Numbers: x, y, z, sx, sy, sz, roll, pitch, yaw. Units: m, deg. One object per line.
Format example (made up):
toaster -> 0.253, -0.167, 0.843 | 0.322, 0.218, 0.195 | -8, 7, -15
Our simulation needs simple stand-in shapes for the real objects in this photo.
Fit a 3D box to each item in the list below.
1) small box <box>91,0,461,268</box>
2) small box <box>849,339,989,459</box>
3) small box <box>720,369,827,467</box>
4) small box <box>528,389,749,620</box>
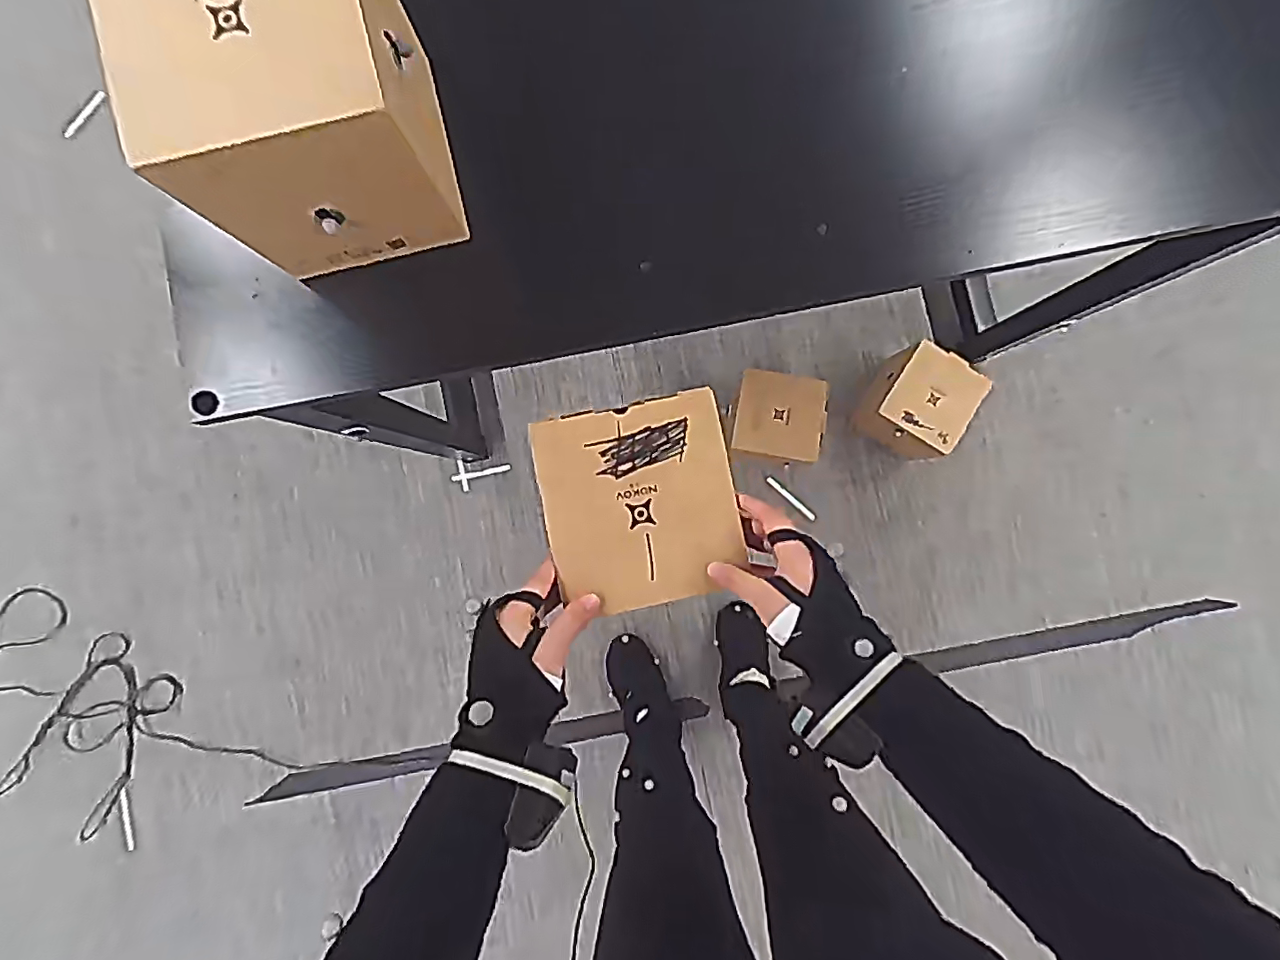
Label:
small box -> -0.257, -0.286, 0.419 | 0.168, 0.176, 0.179 | -14, 87, -1
small box -> 0.573, -0.160, 1.139 | 0.168, 0.176, 0.179 | 32, 88, 2
small box -> 0.272, -0.123, 1.142 | 0.179, 0.176, 0.168 | 10, 87, 2
small box -> -0.005, 0.024, 0.543 | 0.168, 0.176, 0.179 | -12, 89, -2
